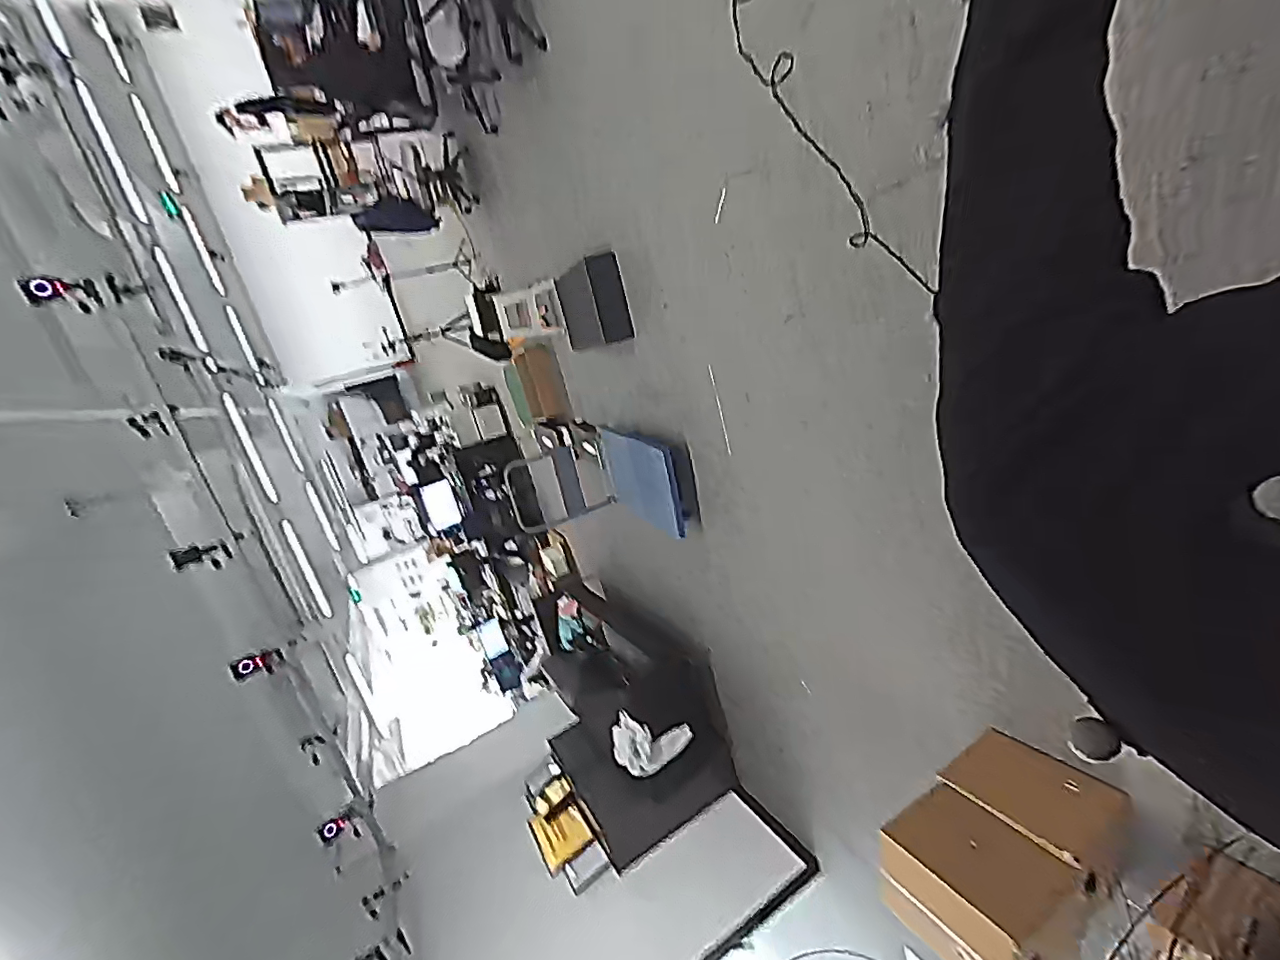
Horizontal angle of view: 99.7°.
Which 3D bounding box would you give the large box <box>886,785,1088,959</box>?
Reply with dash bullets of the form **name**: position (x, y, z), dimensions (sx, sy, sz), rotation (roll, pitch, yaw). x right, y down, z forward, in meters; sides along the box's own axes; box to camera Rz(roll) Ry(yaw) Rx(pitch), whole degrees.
- **large box**: position (1.001, 1.206, 1.588), dimensions (0.408, 0.320, 0.320), rotation (16, 119, 61)
